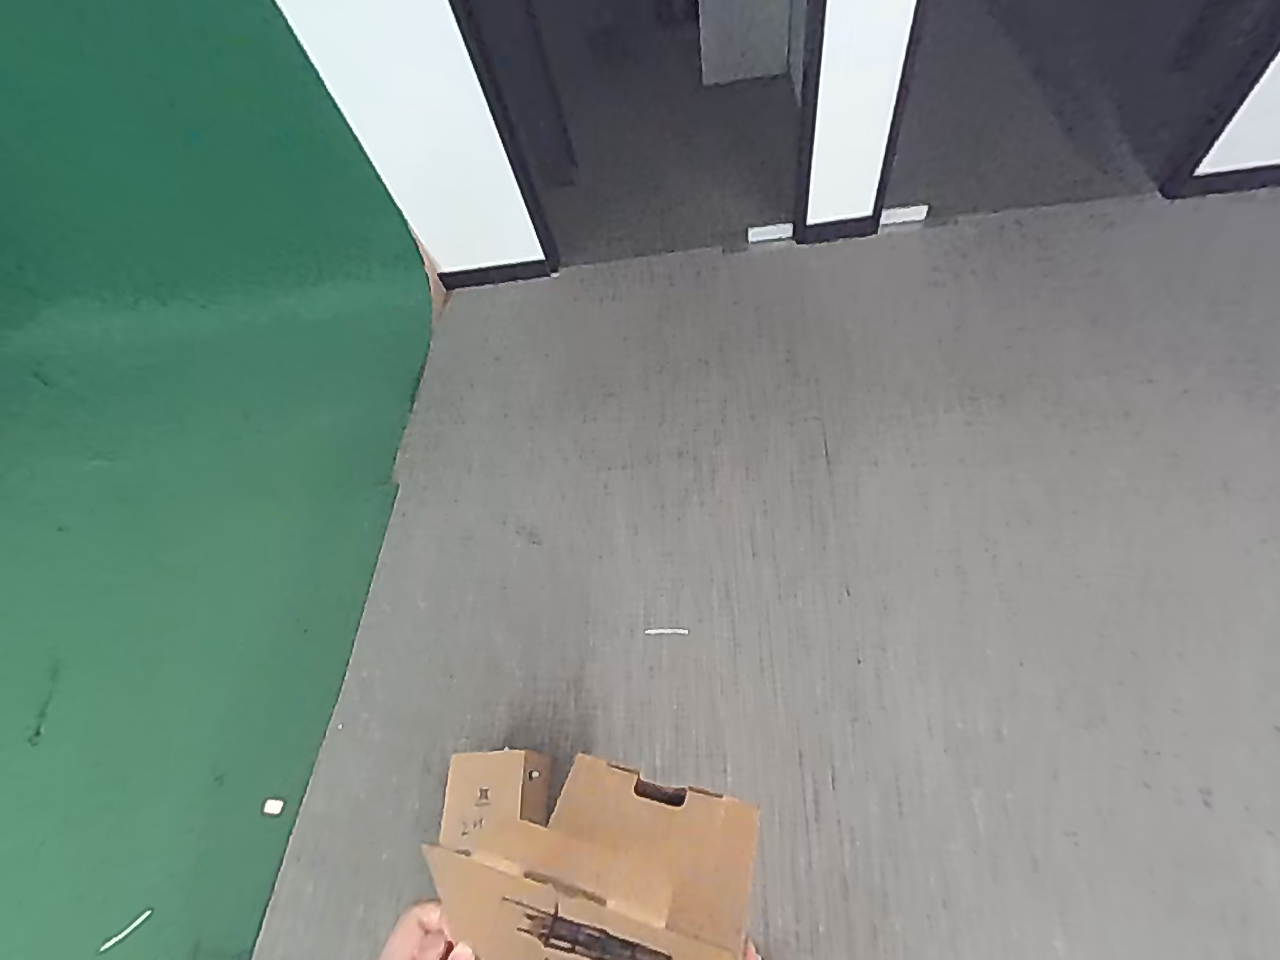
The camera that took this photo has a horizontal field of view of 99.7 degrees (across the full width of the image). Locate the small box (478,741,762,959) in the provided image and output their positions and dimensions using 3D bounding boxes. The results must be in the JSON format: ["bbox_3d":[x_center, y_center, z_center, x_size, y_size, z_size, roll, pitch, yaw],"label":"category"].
[{"bbox_3d":[-0.002,0.353,0.433,0.168,0.176,0.179,7,38,18],"label":"small box"}]

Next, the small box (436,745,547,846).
[{"bbox_3d":[-0.305,0.672,1.152,0.168,0.176,0.179,-6,58,8],"label":"small box"}]
